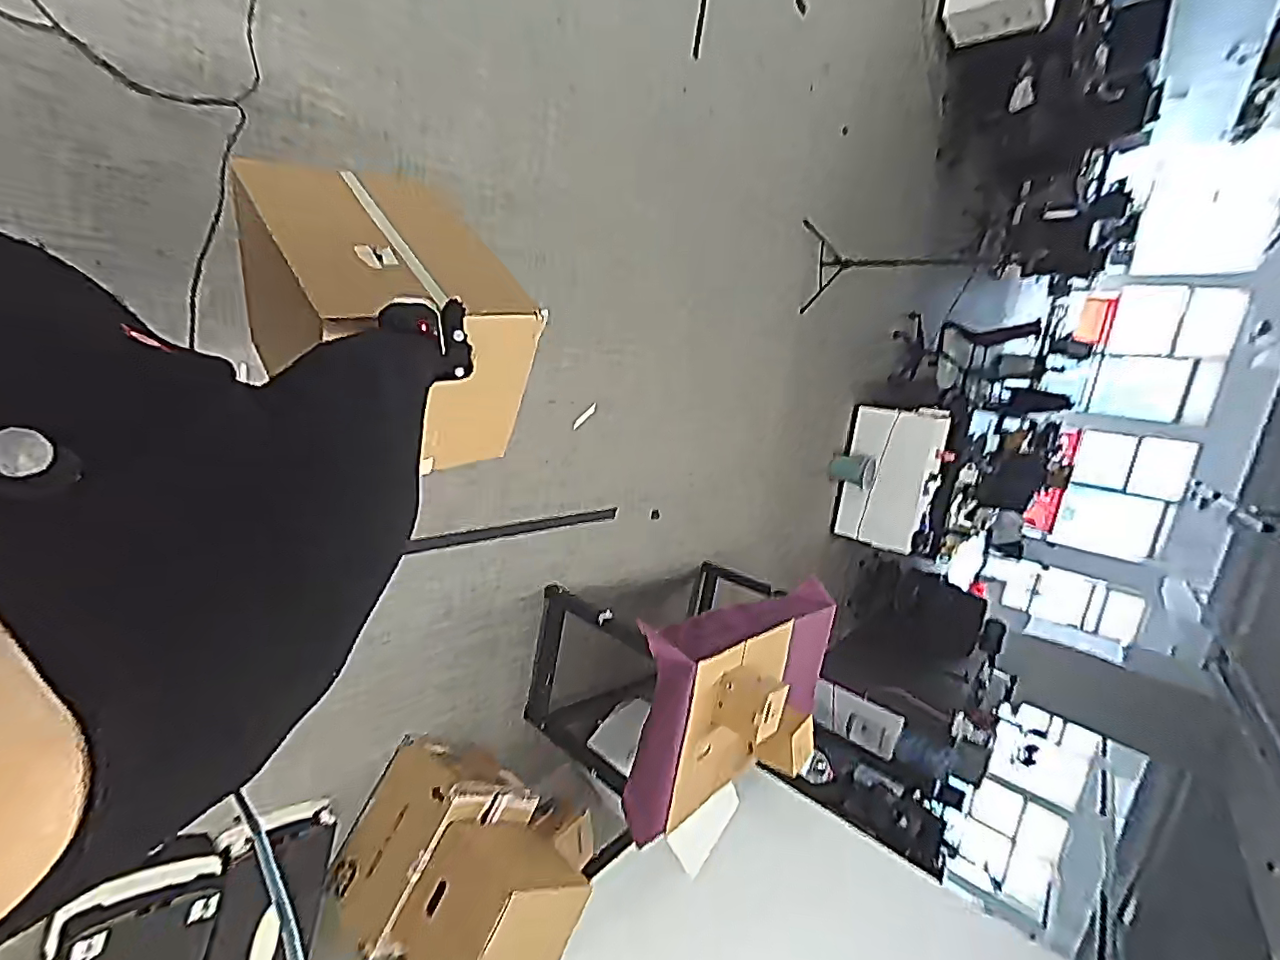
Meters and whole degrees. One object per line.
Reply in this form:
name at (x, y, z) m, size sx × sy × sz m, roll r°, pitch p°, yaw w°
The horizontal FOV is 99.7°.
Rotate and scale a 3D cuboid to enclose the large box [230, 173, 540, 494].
large box at (-0.440, -0.247, 0.917) m, size 0.320 × 0.408 × 0.320 m, roll -18°, pitch 150°, yaw -41°
